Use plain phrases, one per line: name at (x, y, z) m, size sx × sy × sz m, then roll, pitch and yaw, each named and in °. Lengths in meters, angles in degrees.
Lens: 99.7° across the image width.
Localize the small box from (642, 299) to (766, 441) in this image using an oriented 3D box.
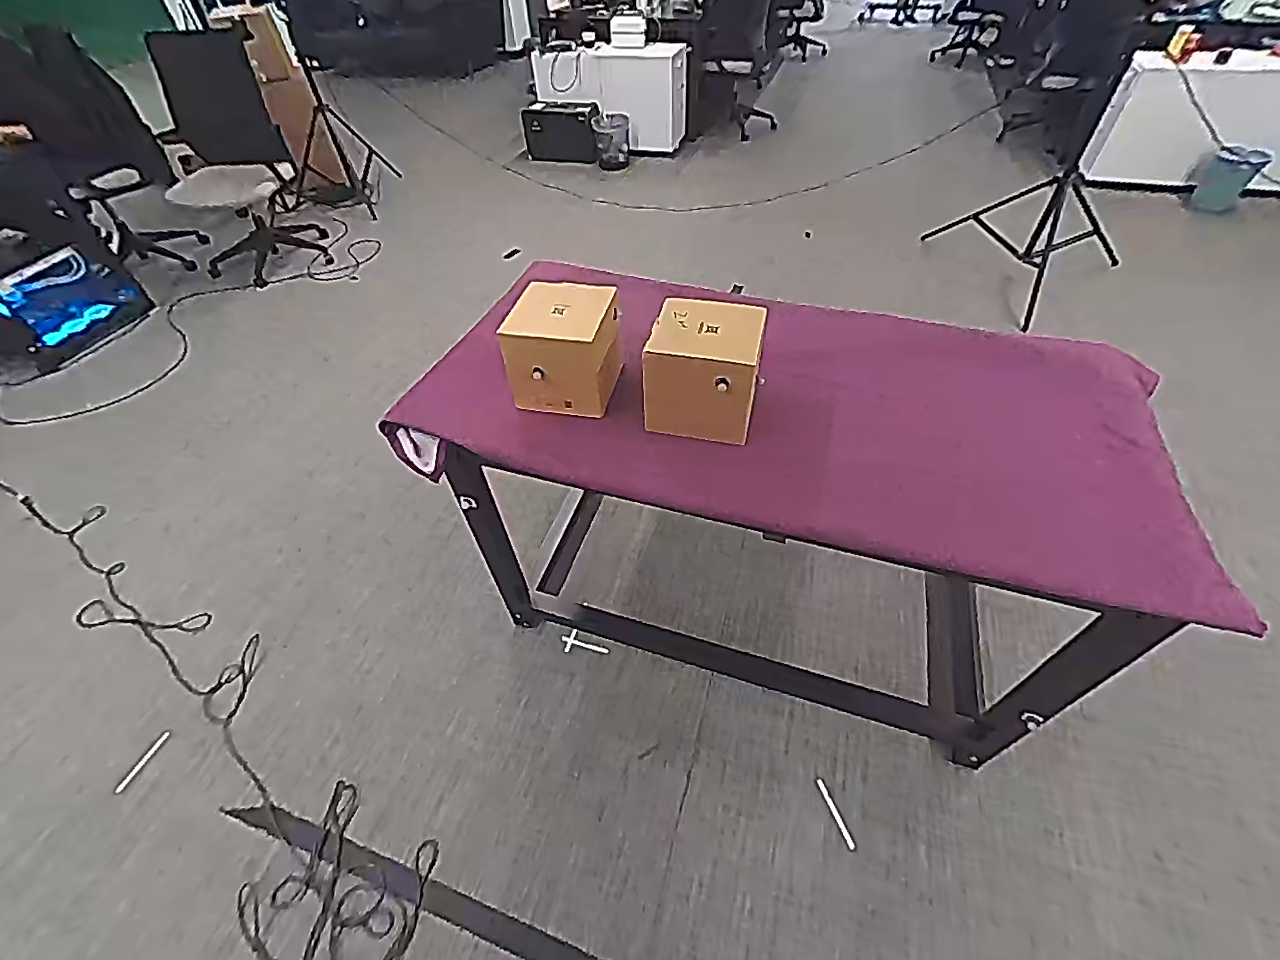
small box at (0.108, -0.185, 0.925) m, size 0.179 × 0.176 × 0.168 m, roll 9°, pitch 48°, yaw 11°

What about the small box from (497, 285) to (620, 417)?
small box at (-0.136, -0.234, 0.987) m, size 0.168 × 0.176 × 0.179 m, roll 7°, pitch 48°, yaw 10°
